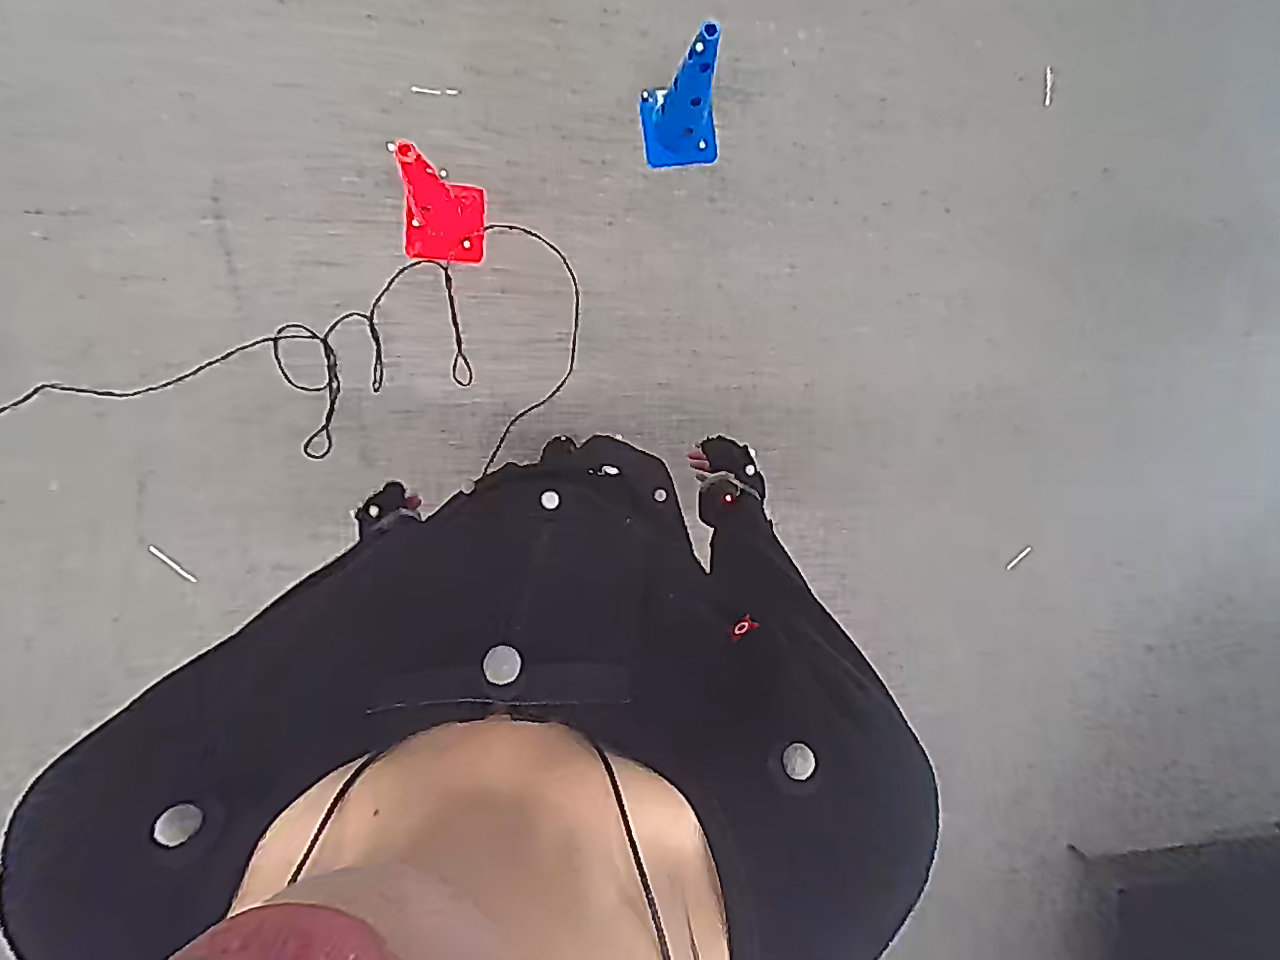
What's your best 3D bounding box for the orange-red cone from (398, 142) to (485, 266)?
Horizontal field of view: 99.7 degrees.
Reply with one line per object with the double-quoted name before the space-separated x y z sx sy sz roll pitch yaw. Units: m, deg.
"orange-red cone" -0.484 -0.659 1.238 0.198 0.360 0.199 3 92 -8
